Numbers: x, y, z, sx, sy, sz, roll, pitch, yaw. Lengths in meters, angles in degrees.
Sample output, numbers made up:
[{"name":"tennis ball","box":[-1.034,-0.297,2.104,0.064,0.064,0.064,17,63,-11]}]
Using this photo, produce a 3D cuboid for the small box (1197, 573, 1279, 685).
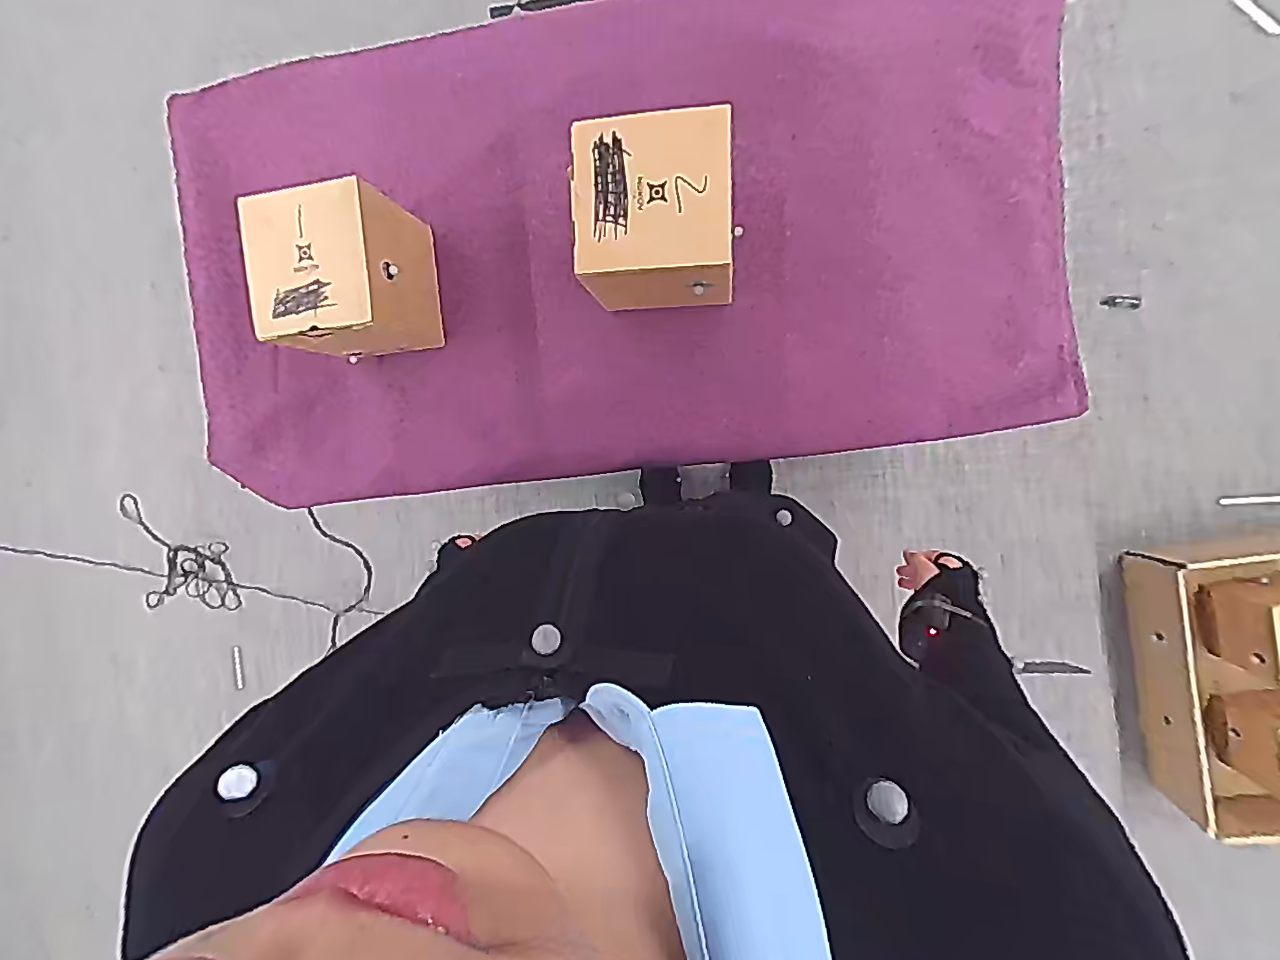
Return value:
[{"name":"small box","box":[1.373,0.317,1.170,0.168,0.176,0.179,-11,93,9]}]

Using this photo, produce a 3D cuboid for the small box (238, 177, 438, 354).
[{"name":"small box","box":[-0.394,-0.273,0.734,0.168,0.176,0.179,-5,93,9]}]

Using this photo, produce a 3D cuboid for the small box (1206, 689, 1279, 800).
[{"name":"small box","box":[1.416,0.573,1.183,0.179,0.176,0.168,-9,92,10]}]
